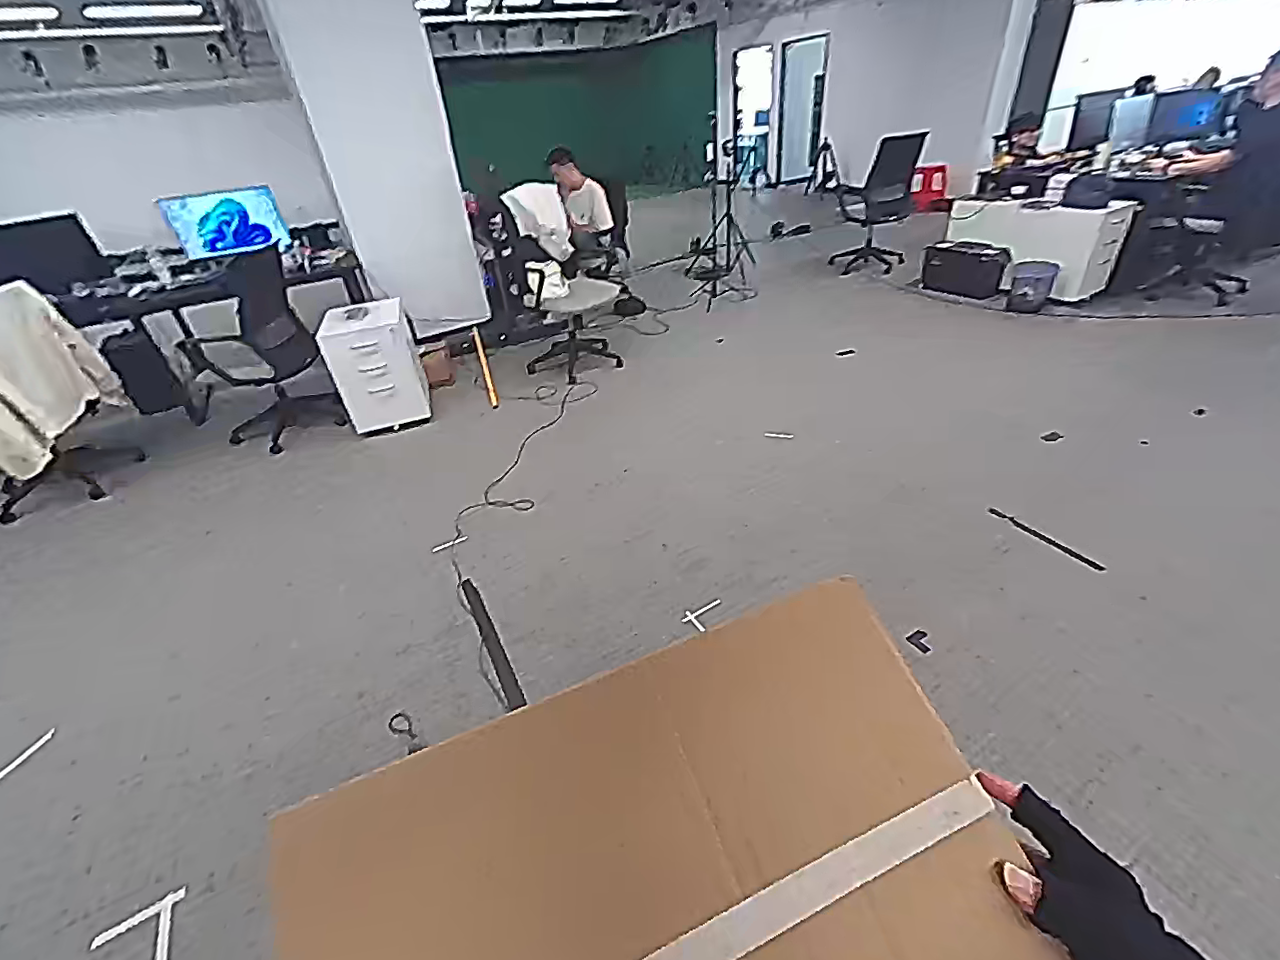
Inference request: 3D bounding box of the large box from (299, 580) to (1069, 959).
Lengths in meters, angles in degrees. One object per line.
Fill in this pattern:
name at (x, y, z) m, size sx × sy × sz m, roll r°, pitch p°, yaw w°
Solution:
large box at (0.023, 0.337, 0.441) m, size 0.408 × 0.320 × 0.320 m, roll -19°, pitch 65°, yaw -13°
